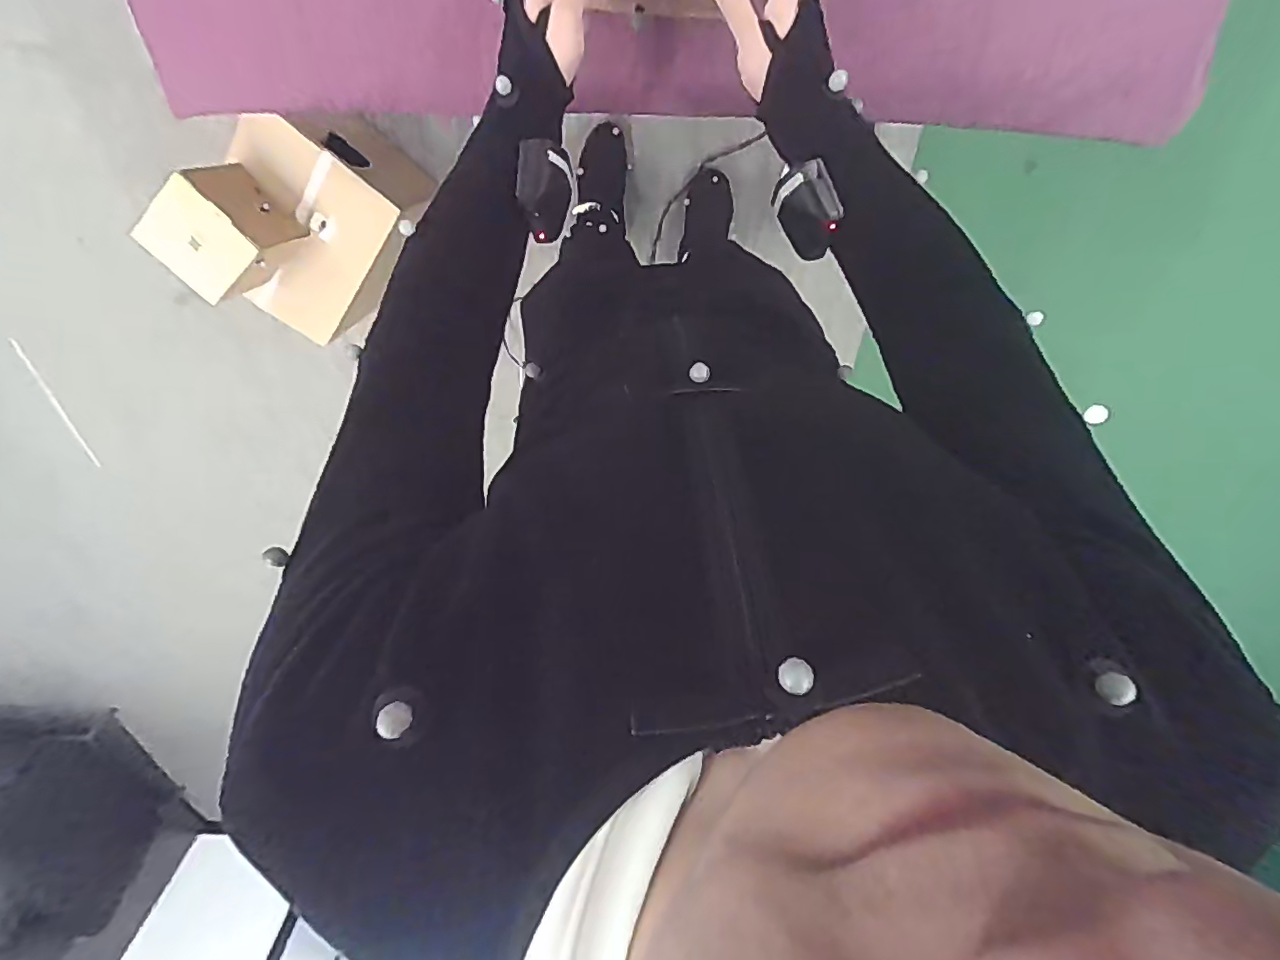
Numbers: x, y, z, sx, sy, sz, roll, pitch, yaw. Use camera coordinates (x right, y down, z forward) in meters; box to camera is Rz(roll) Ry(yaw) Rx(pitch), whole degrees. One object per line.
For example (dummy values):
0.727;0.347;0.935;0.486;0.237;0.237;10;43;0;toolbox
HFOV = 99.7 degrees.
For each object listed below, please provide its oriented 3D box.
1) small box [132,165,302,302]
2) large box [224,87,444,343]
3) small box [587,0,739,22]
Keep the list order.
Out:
-0.814;-0.484;1.060;0.179;0.176;0.168;-31;116;21;small box
-0.730;-0.609;1.266;0.320;0.320;0.408;36;118;-22;large box
0.018;-0.537;0.477;0.168;0.176;0.179;4;124;0;small box
